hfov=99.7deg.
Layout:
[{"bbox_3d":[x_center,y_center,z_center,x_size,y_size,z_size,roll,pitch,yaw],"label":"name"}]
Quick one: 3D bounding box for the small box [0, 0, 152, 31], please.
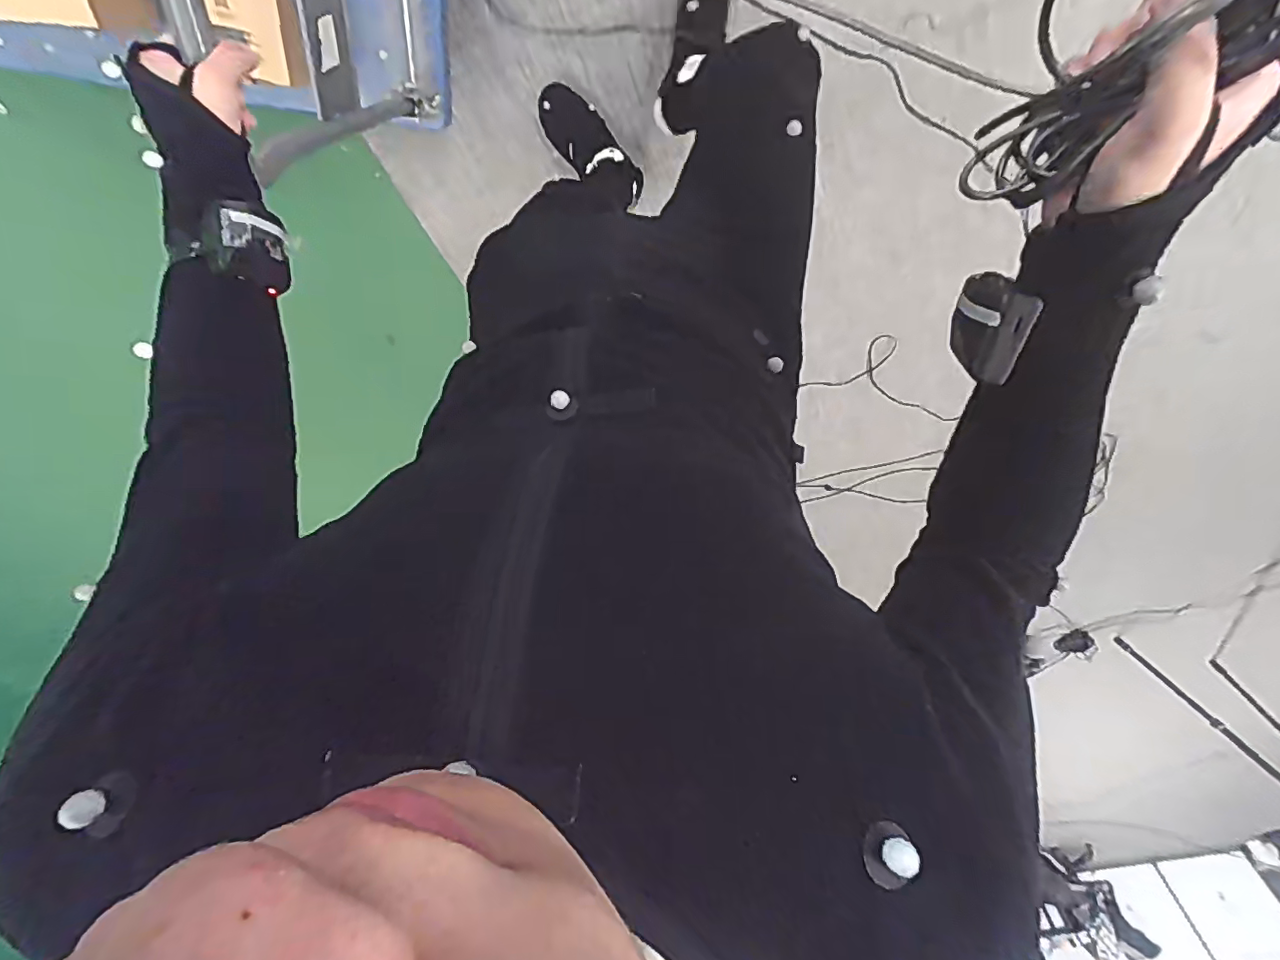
[{"bbox_3d":[-0.905,-0.802,0.822,0.179,0.176,0.168,1,131,-5],"label":"small box"}]
